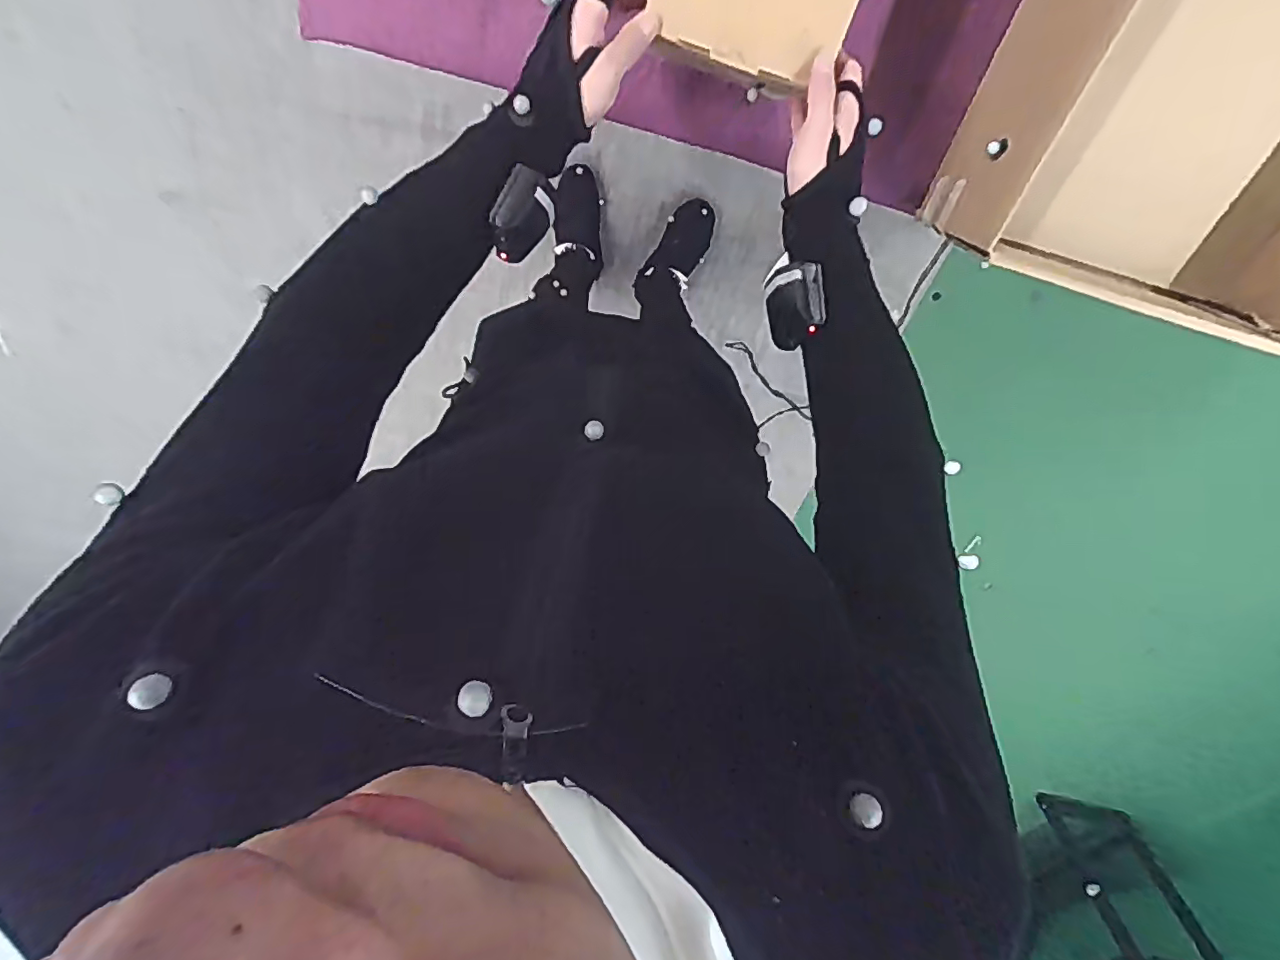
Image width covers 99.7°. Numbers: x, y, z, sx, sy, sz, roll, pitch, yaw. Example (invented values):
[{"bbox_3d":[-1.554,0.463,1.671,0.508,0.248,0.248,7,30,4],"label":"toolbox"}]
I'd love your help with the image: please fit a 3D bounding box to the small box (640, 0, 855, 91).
[{"bbox_3d":[0.104,-0.468,0.474,0.168,0.176,0.179,14,123,-9],"label":"small box"}]
